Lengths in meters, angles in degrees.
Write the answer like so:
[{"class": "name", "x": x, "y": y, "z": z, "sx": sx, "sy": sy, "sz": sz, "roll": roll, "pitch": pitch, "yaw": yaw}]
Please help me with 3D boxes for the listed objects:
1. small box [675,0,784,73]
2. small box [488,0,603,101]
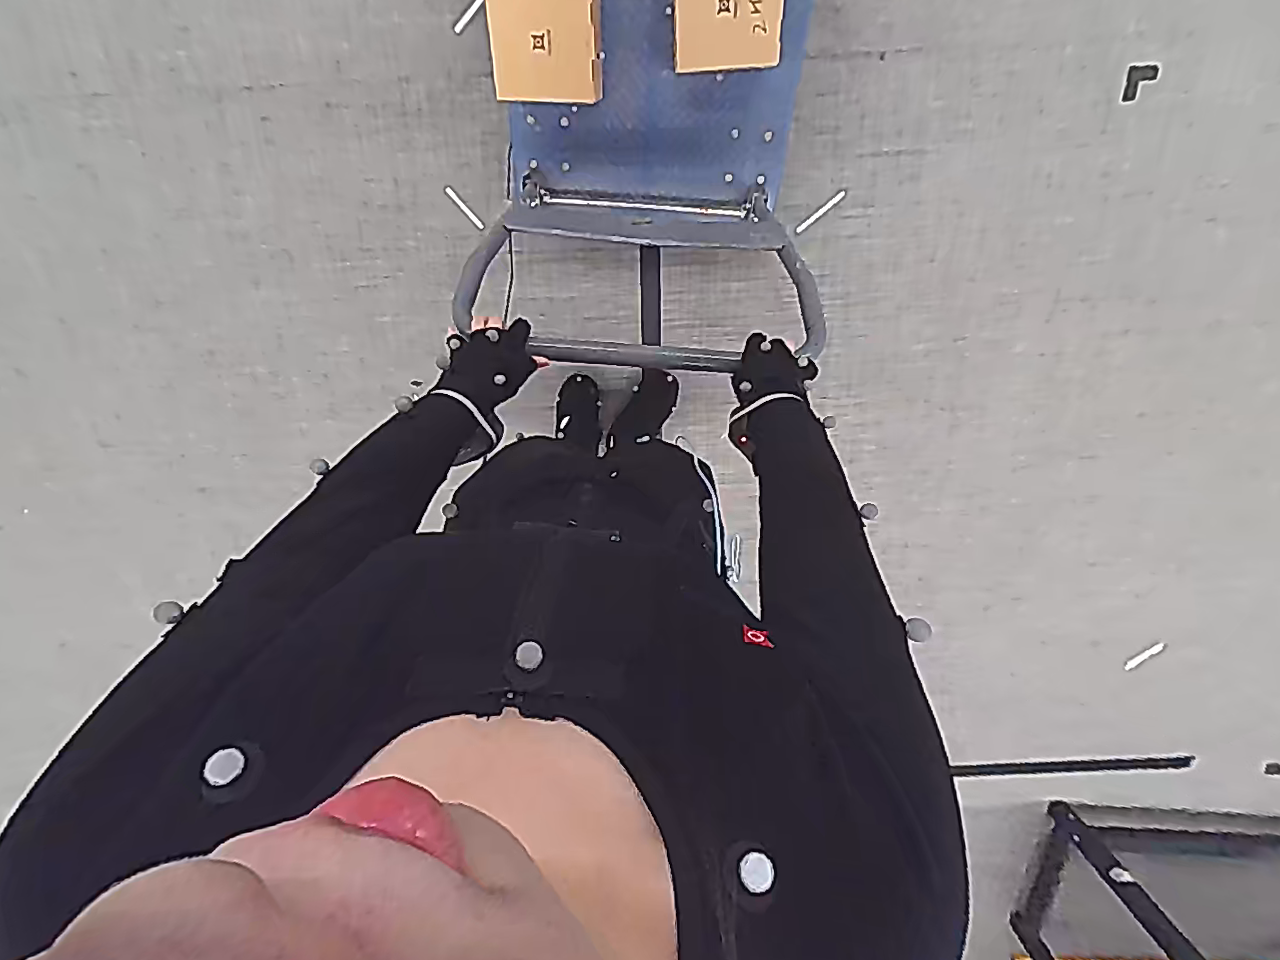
[{"class": "small box", "x": 0.148, "y": -0.811, "z": 0.933, "sx": 0.179, "sy": 0.176, "sz": 0.168, "roll": -1, "pitch": 127, "yaw": 3}, {"class": "small box", "x": -0.161, "y": -0.782, "z": 0.969, "sx": 0.179, "sy": 0.176, "sz": 0.168, "roll": 1, "pitch": 127, "yaw": 0}]
